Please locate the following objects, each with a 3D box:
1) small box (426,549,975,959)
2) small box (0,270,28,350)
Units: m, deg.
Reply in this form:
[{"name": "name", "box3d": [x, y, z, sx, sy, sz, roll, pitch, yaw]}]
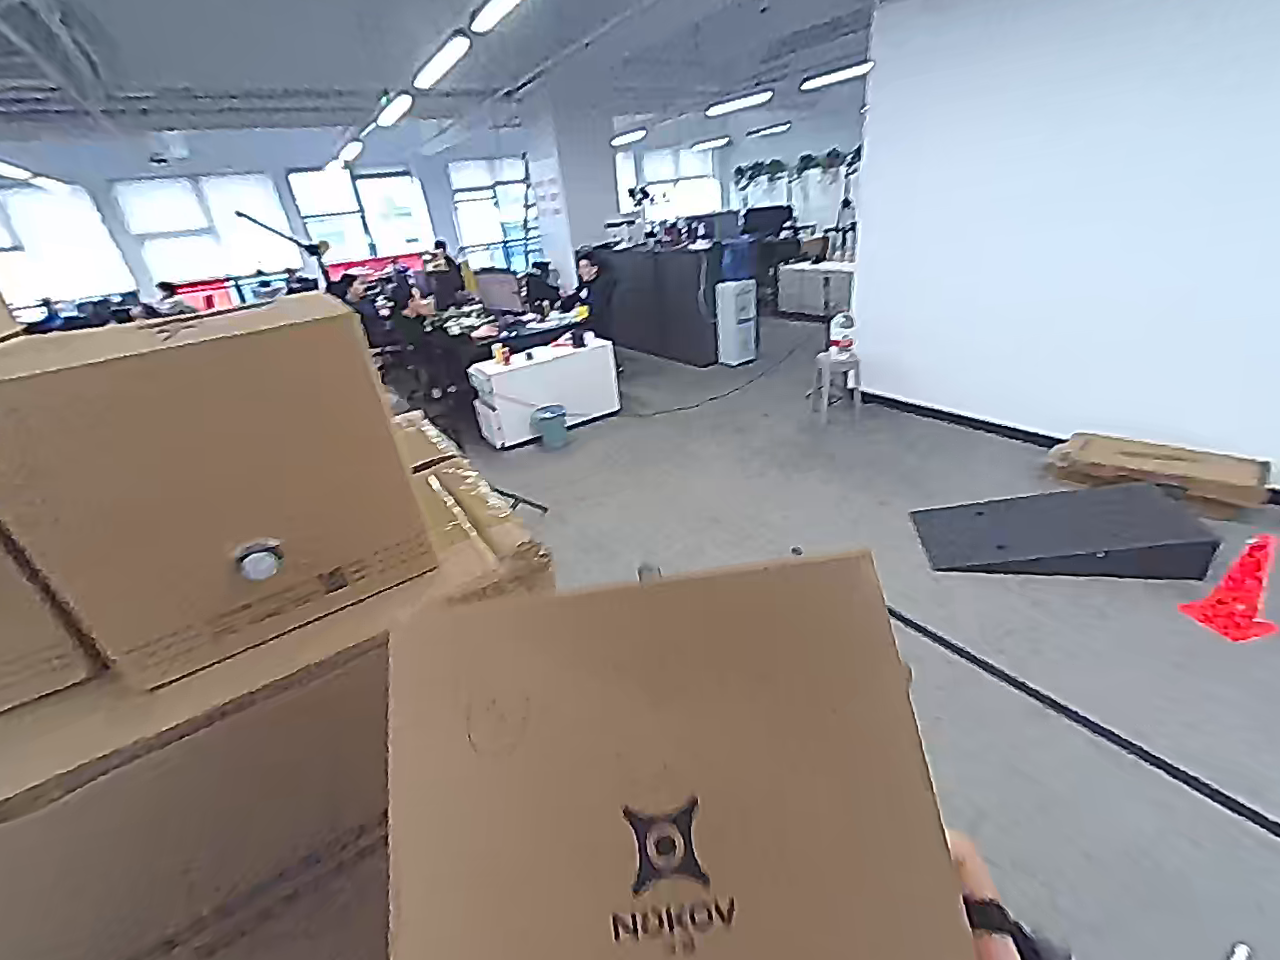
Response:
[{"name": "small box", "box3d": [0.018, 0.139, 0.248, 0.168, 0.179, 0.176, -8, -16, 2]}, {"name": "small box", "box3d": [-0.427, -0.115, 0.225, 0.168, 0.176, 0.179, -22, 33, -27]}]
